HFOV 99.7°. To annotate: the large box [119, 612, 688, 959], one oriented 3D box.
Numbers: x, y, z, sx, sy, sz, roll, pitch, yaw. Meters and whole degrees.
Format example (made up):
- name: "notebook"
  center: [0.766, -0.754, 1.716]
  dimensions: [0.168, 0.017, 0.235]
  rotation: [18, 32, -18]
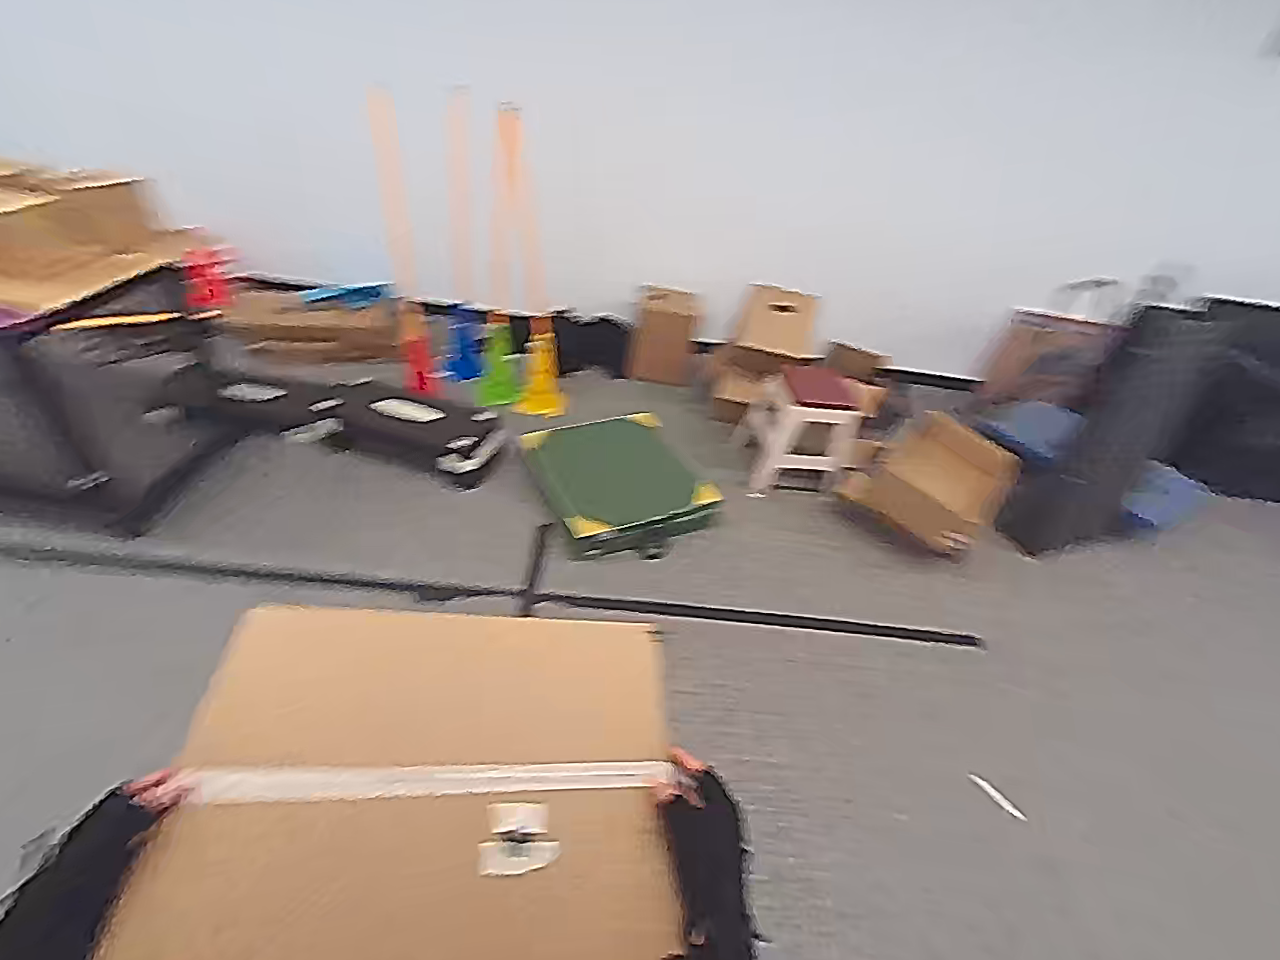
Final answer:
- name: "large box"
  center: [-0.204, 0.361, 0.580]
  dimensions: [0.408, 0.320, 0.320]
  rotation: [7, 47, -14]
